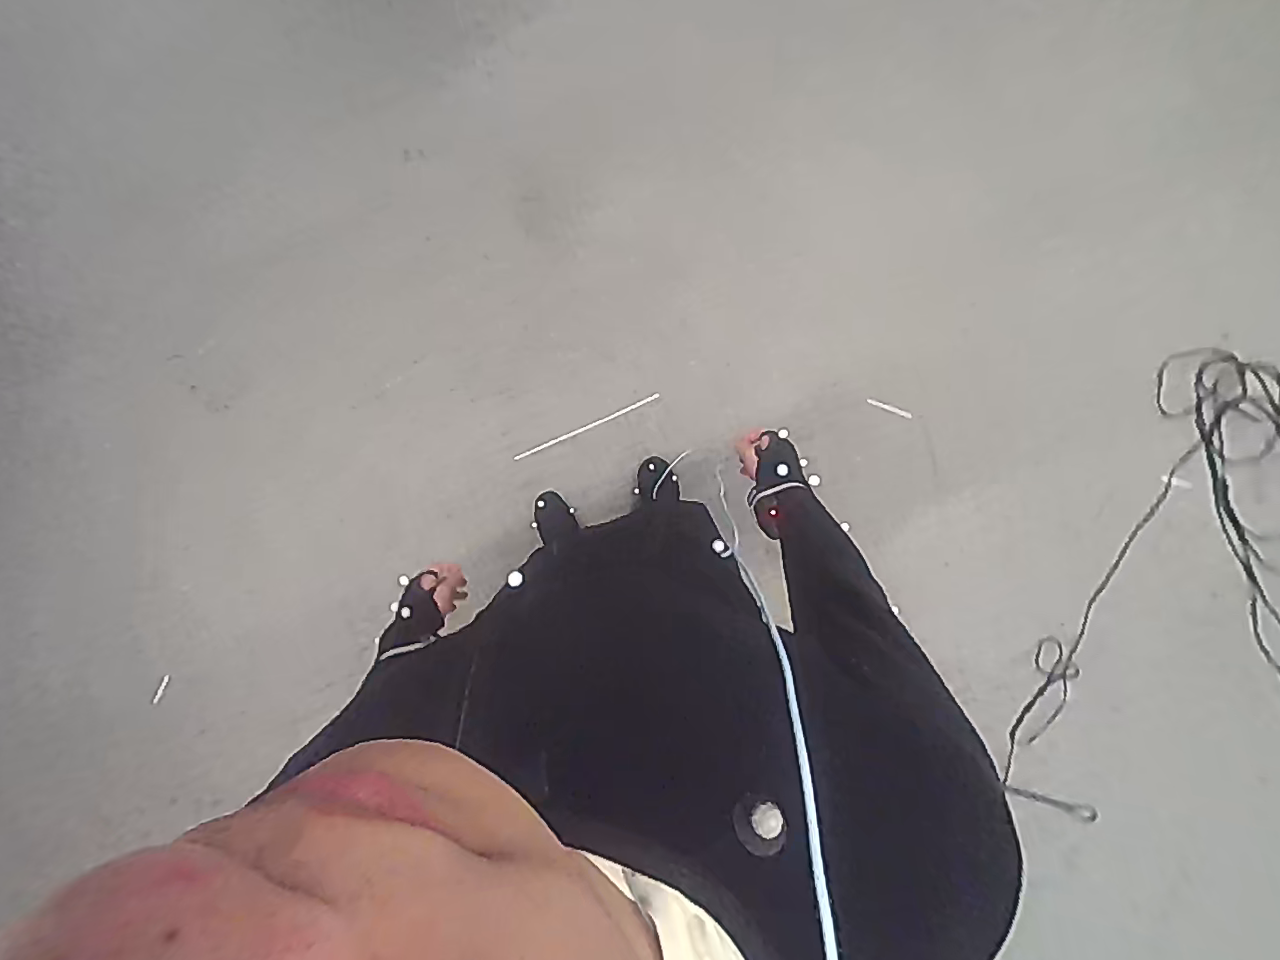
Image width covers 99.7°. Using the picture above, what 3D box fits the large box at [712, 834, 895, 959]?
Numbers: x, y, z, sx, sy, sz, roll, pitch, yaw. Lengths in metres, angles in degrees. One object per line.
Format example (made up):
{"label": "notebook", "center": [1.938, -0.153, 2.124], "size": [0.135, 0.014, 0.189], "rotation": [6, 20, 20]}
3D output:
{"label": "large box", "center": [0.462, 1.322, 1.529], "size": [0.408, 0.320, 0.320], "rotation": [-33, 91, 3]}
